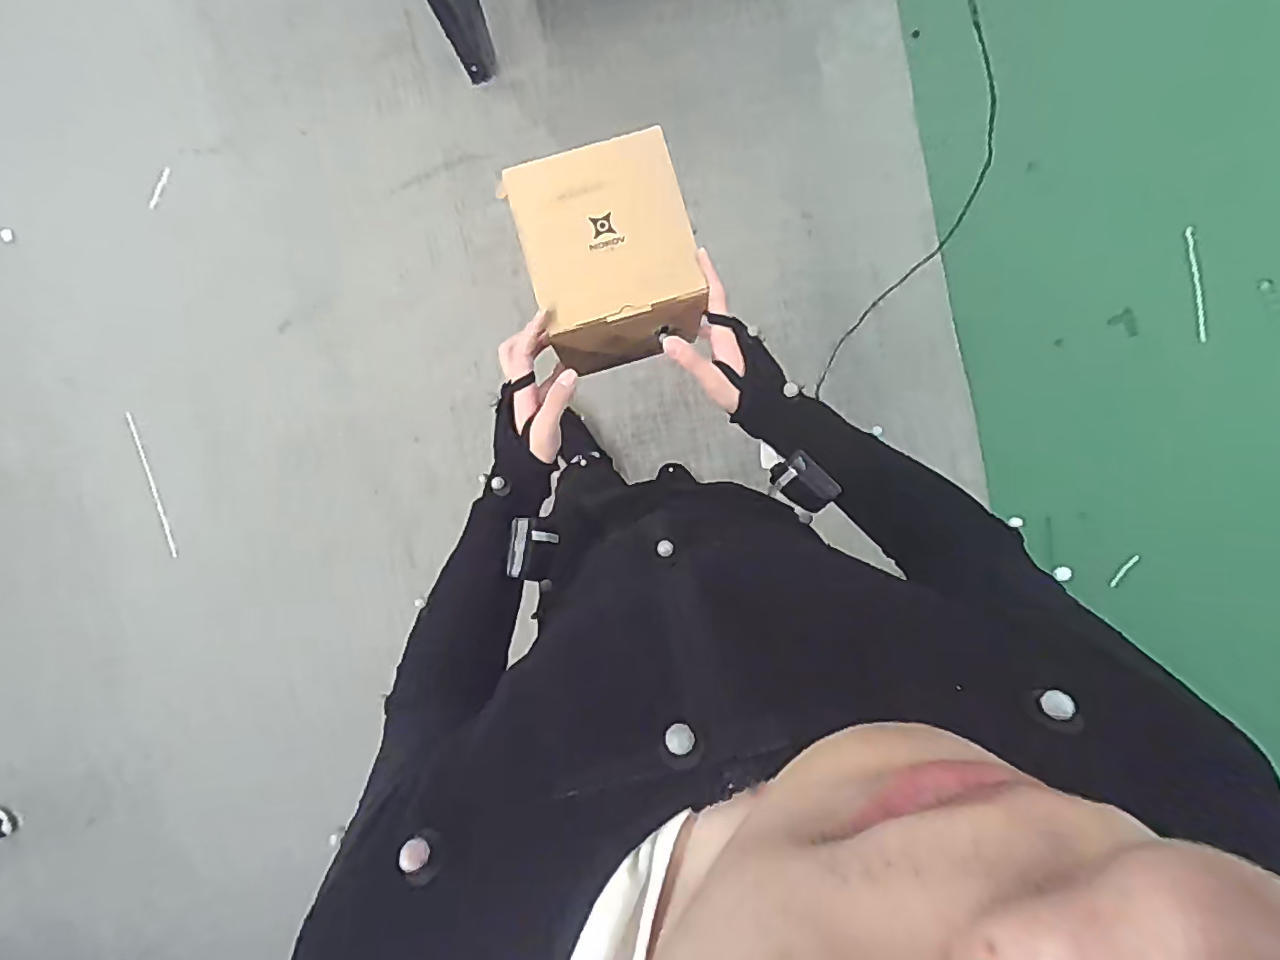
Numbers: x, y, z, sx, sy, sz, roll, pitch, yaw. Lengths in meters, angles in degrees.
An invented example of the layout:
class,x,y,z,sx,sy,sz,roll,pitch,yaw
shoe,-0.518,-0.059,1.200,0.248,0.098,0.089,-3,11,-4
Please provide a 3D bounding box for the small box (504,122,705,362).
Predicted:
class,x,y,z,sx,sy,sz,roll,pitch,yaw
small box,-0.033,-0.243,0.604,0.168,0.176,0.179,-15,86,0
